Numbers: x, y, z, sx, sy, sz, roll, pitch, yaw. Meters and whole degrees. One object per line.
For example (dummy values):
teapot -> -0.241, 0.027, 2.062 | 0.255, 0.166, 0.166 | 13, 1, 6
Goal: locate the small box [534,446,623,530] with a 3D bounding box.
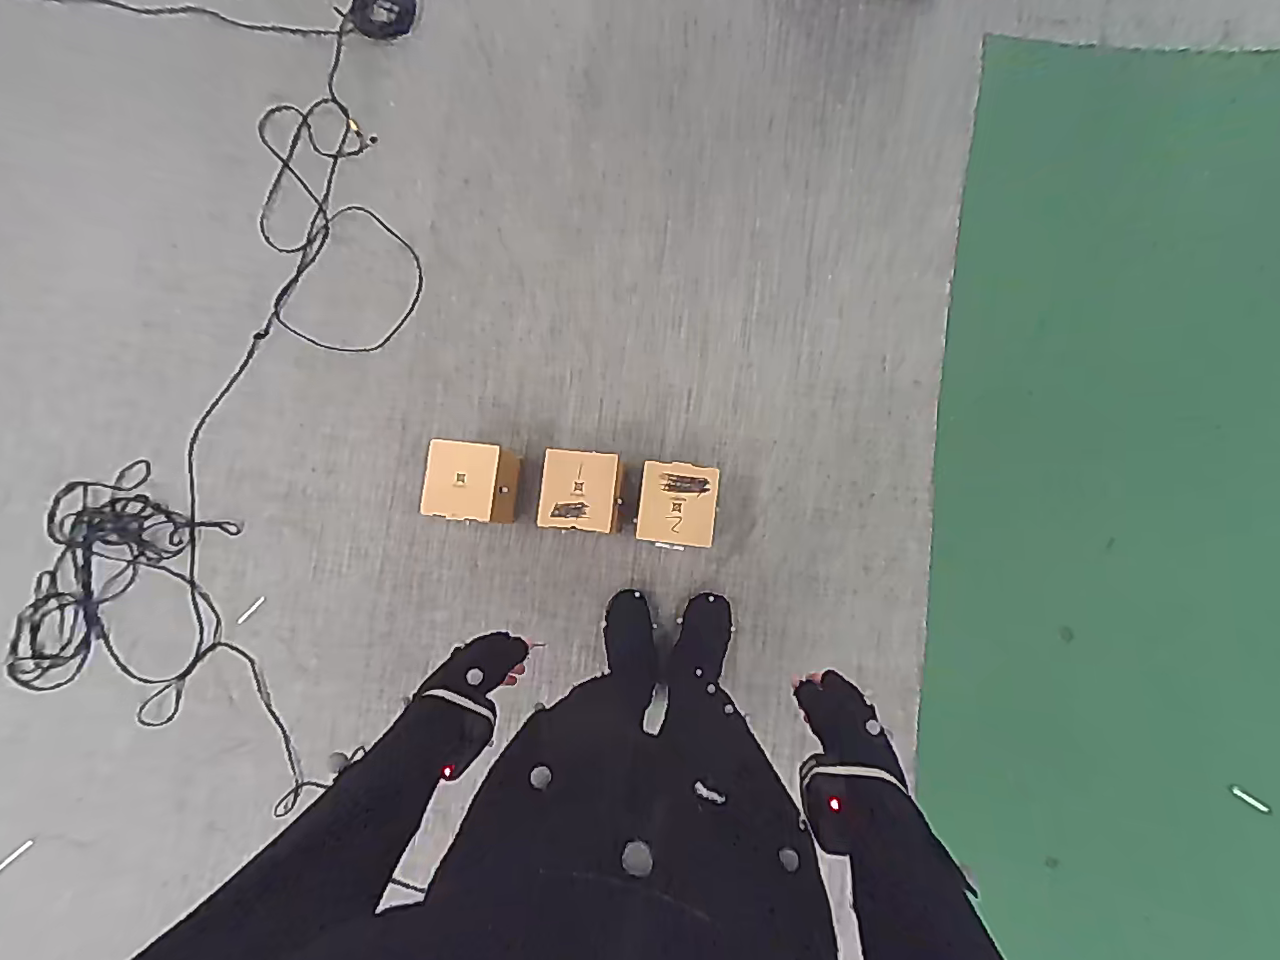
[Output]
small box -> -0.137, 0.025, 1.275 | 0.168, 0.176, 0.179 | 5, 84, 7

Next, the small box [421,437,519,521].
small box -> -0.401, 0.002, 1.304 | 0.168, 0.176, 0.179 | 6, 85, 6
